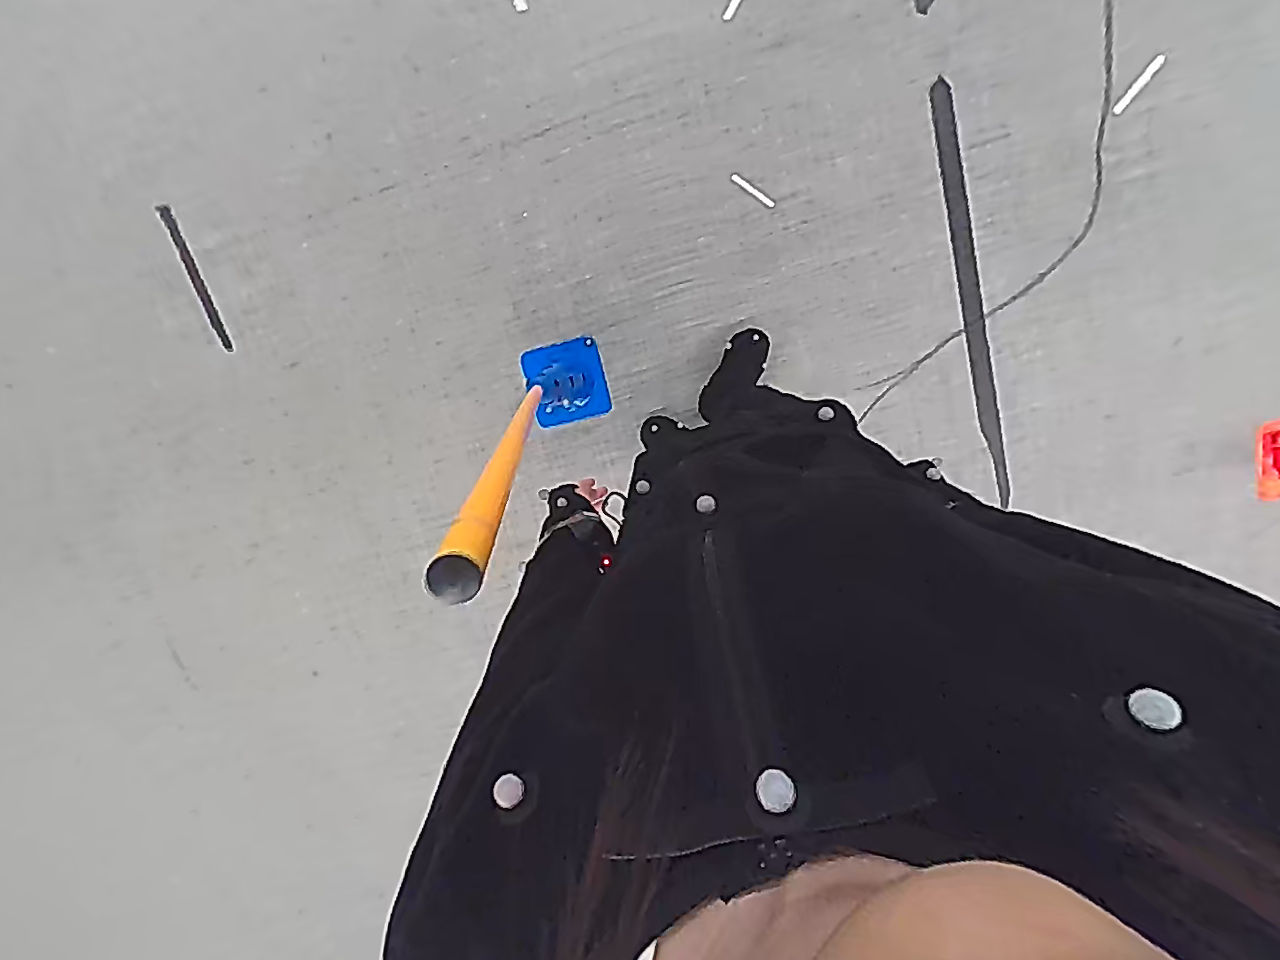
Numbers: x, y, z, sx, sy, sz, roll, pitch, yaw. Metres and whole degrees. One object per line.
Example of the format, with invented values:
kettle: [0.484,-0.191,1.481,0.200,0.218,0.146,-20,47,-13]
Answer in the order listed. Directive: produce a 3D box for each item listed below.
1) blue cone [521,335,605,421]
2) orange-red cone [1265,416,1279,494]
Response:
blue cone: [-0.200,-0.220,1.216,0.193,0.380,0.192,-12,101,5]
orange-red cone: [1.637,-0.035,1.161,0.198,0.360,0.199,-12,103,5]
